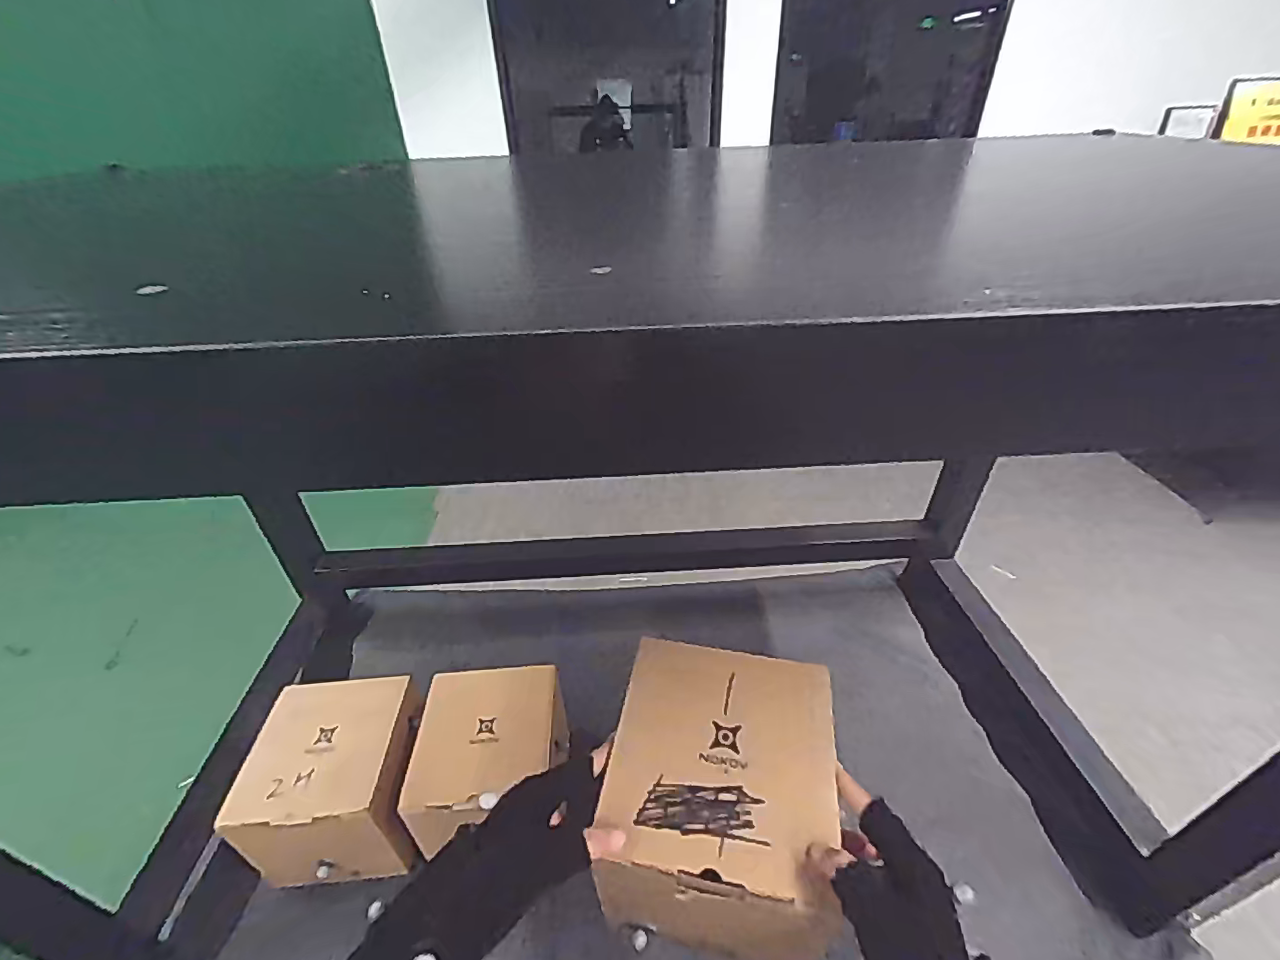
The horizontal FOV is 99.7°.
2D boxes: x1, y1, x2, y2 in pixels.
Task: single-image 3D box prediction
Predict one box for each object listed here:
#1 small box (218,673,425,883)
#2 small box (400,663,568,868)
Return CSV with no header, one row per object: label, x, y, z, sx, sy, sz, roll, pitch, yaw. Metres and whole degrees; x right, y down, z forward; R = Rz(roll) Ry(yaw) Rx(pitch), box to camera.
small box,-0.377,0.378,0.696,0.168,0.176,0.179,-4,35,-2
small box,-0.186,0.367,0.706,0.168,0.176,0.179,-4,35,-2
